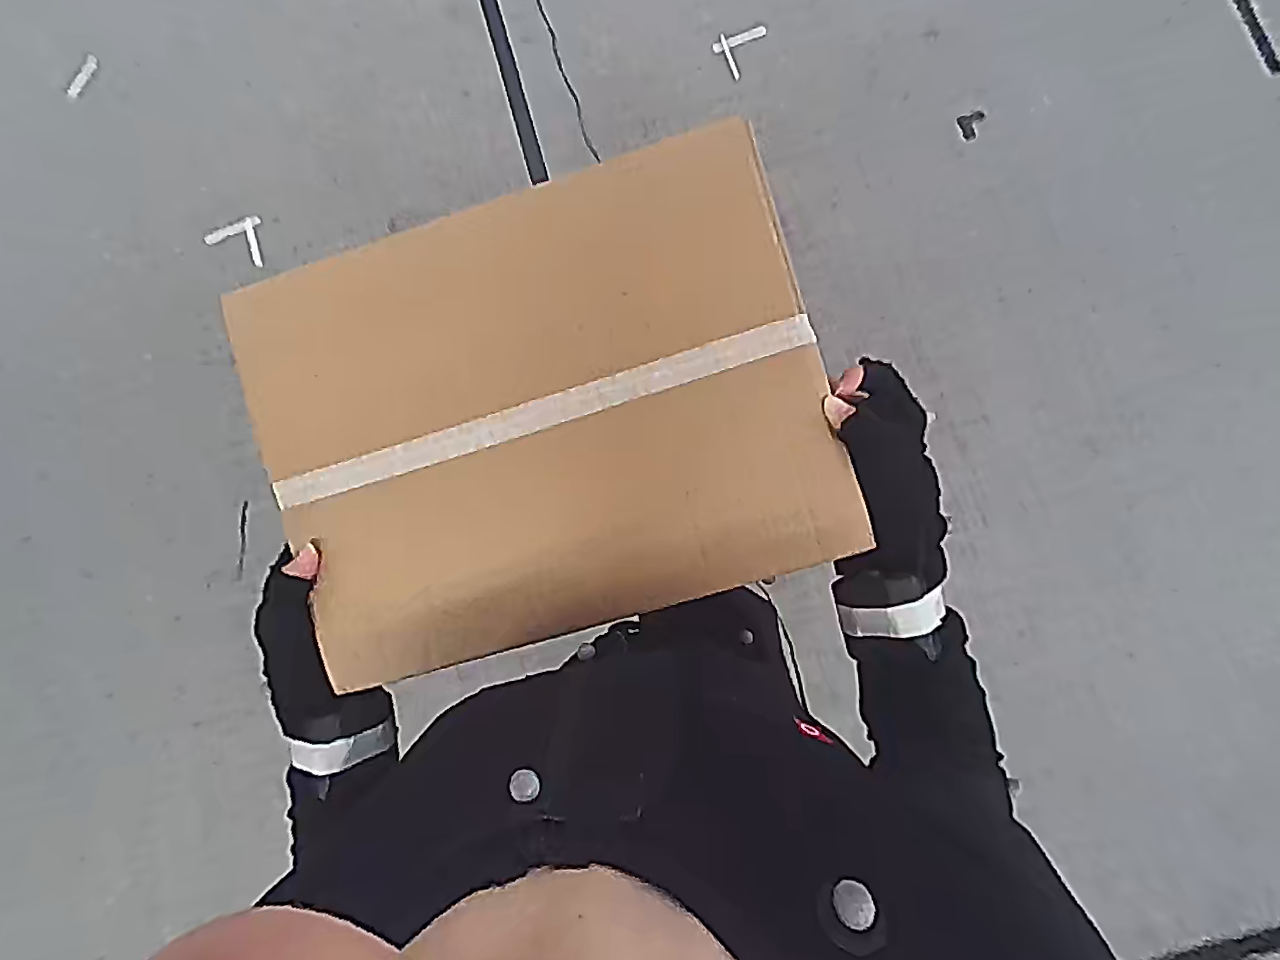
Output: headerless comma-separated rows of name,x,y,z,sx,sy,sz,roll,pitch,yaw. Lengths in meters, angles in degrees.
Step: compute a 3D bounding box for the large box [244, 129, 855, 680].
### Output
large box,-0.063,-0.052,0.549,0.408,0.320,0.320,-17,89,5
